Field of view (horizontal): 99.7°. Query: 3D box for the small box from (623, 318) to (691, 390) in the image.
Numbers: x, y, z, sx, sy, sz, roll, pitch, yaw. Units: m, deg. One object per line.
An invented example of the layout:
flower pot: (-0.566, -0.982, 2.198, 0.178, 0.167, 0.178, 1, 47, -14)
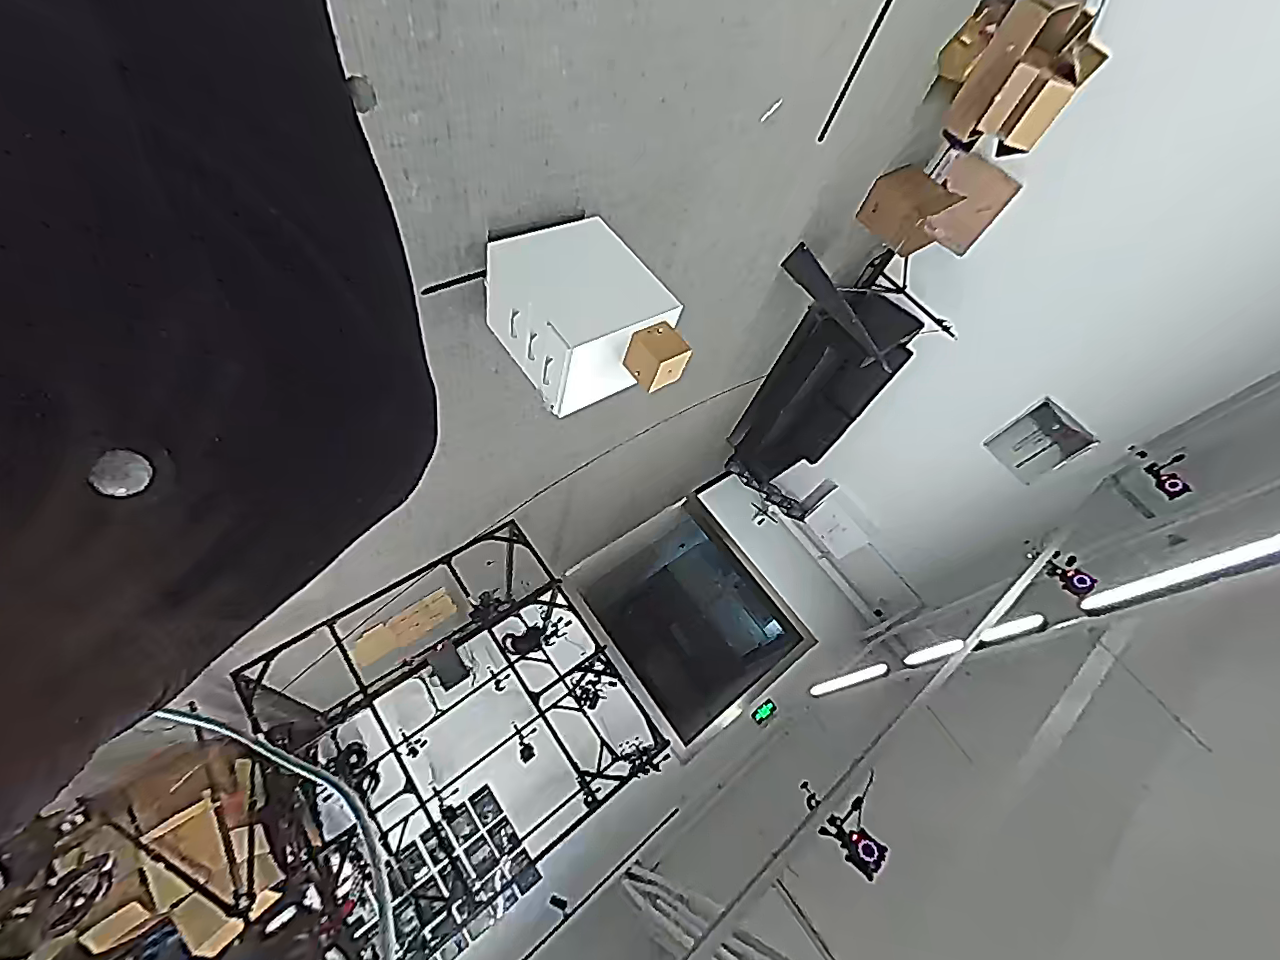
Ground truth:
small box: (0.057, -0.479, 2.046, 0.168, 0.176, 0.179, -30, 163, -30)
